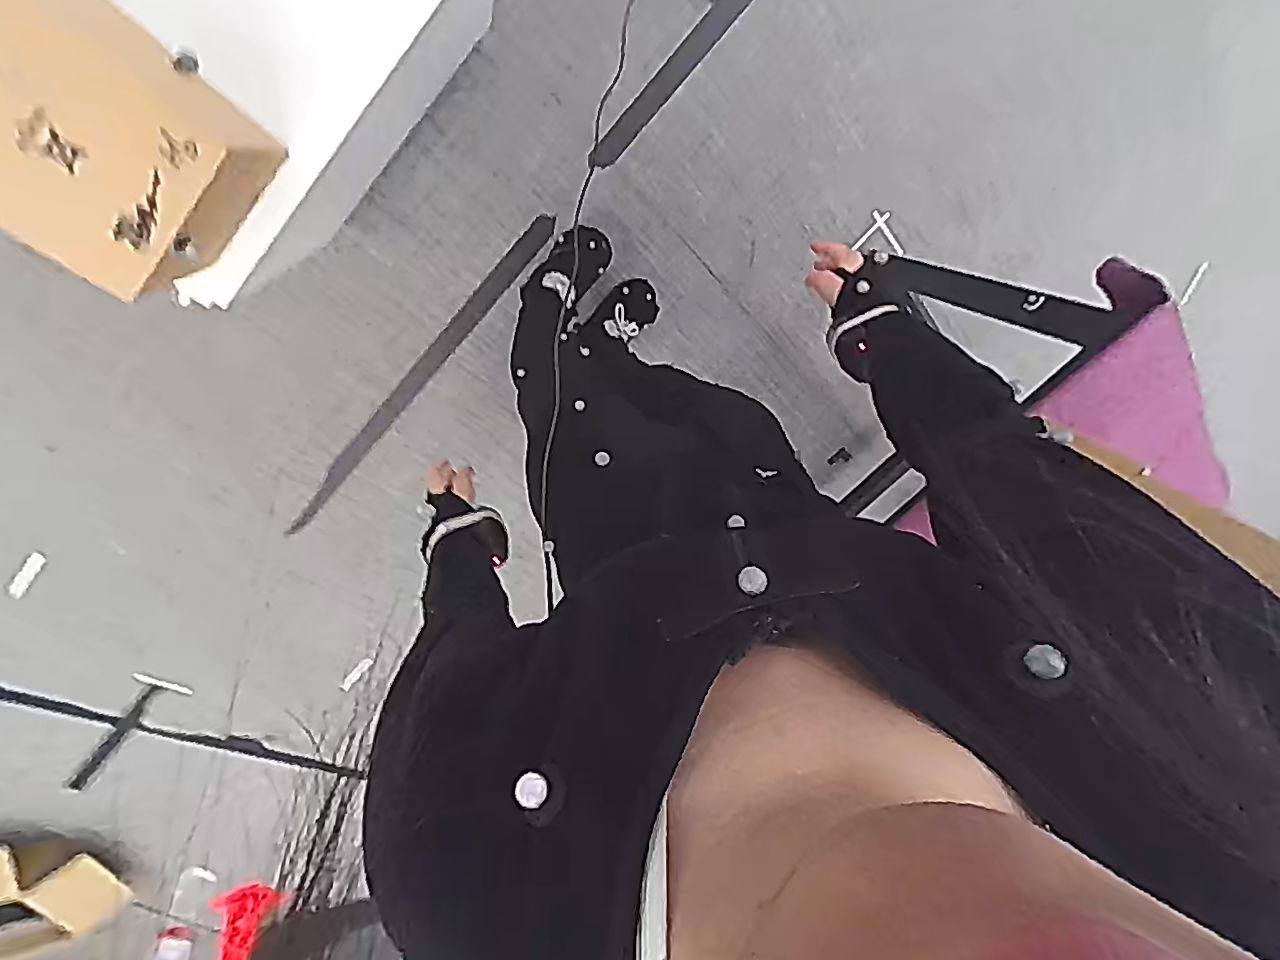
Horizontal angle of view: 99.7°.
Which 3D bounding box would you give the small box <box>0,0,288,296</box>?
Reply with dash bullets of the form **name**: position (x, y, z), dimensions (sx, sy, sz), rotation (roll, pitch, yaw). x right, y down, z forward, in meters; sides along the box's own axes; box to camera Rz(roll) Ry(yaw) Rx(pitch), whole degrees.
- **small box**: position (-0.455, -0.292, 0.468), dimensions (0.179, 0.176, 0.168), rotation (37, 104, -30)
